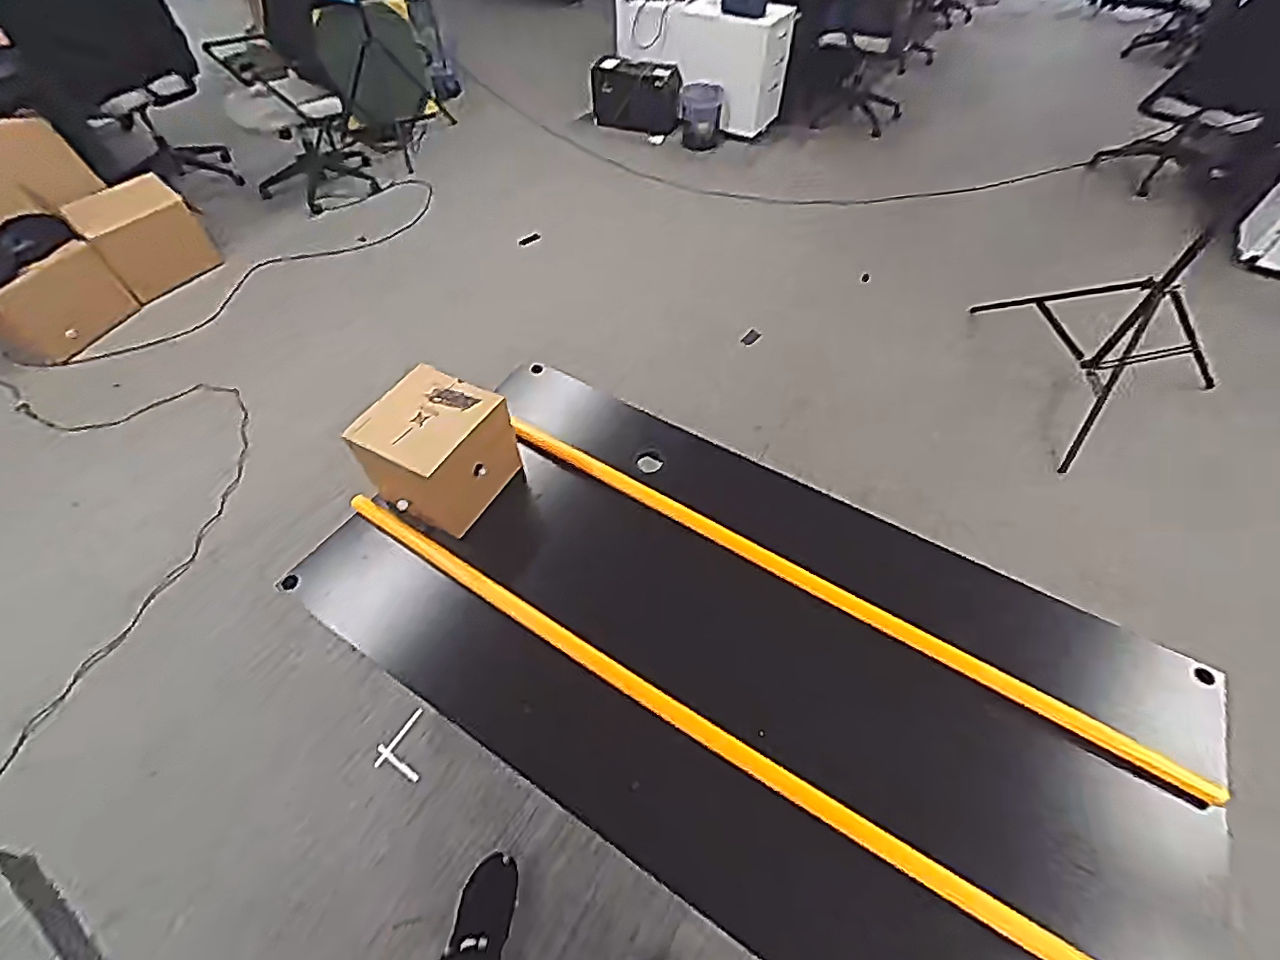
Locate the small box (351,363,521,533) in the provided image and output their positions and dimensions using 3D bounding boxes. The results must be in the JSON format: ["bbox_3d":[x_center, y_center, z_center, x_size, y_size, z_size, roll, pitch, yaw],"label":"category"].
[{"bbox_3d":[-0.309,-0.049,0.865,0.168,0.176,0.179,23,58,16],"label":"small box"}]
